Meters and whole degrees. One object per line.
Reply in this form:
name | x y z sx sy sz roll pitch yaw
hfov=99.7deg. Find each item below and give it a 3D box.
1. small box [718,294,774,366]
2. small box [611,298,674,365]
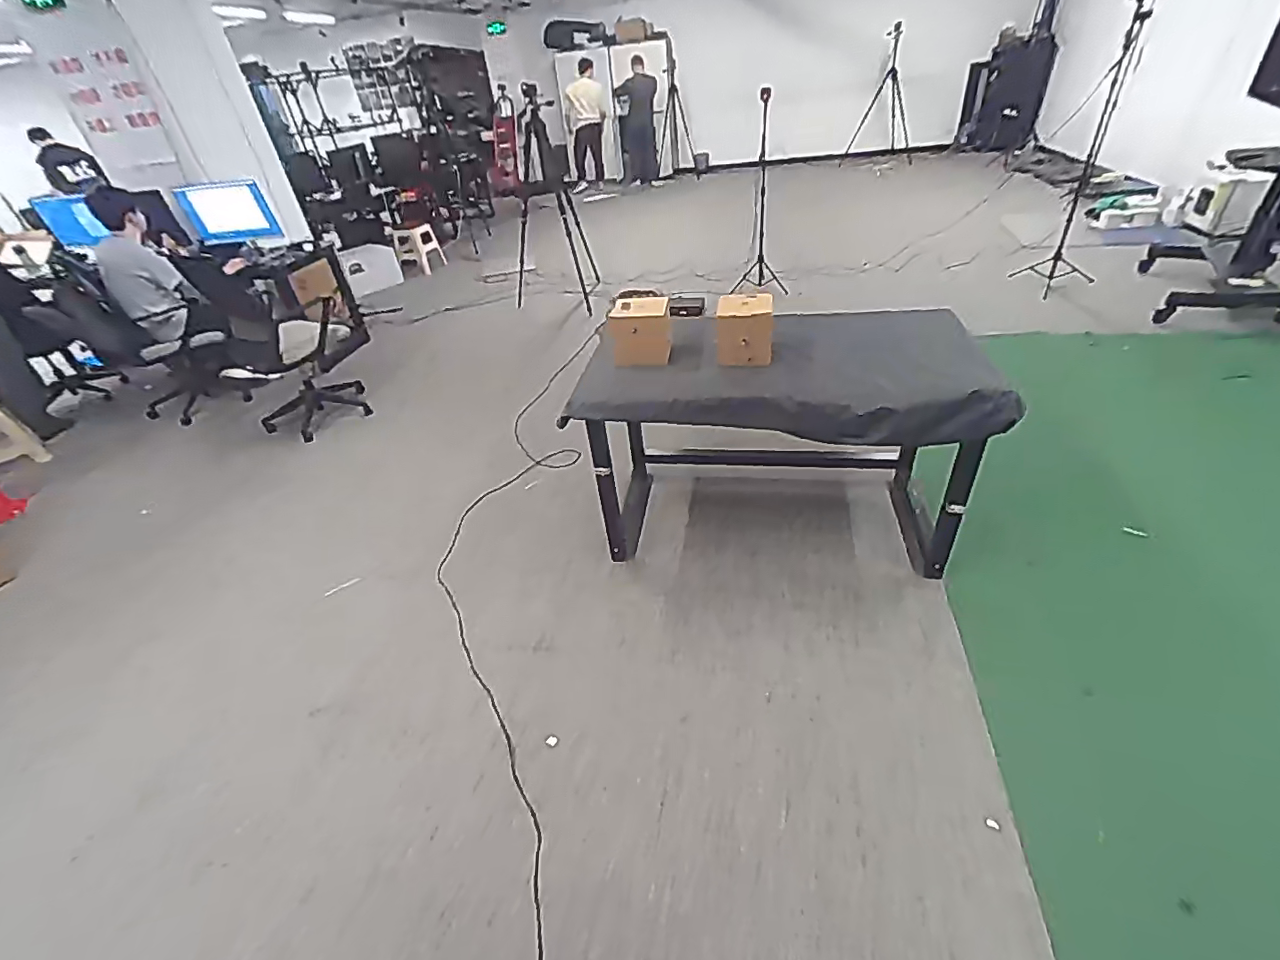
small box | 0.337 -0.471 1.709 0.168 0.176 0.179 2 38 12
small box | 0.014 -0.488 1.781 0.179 0.176 0.168 2 38 9
